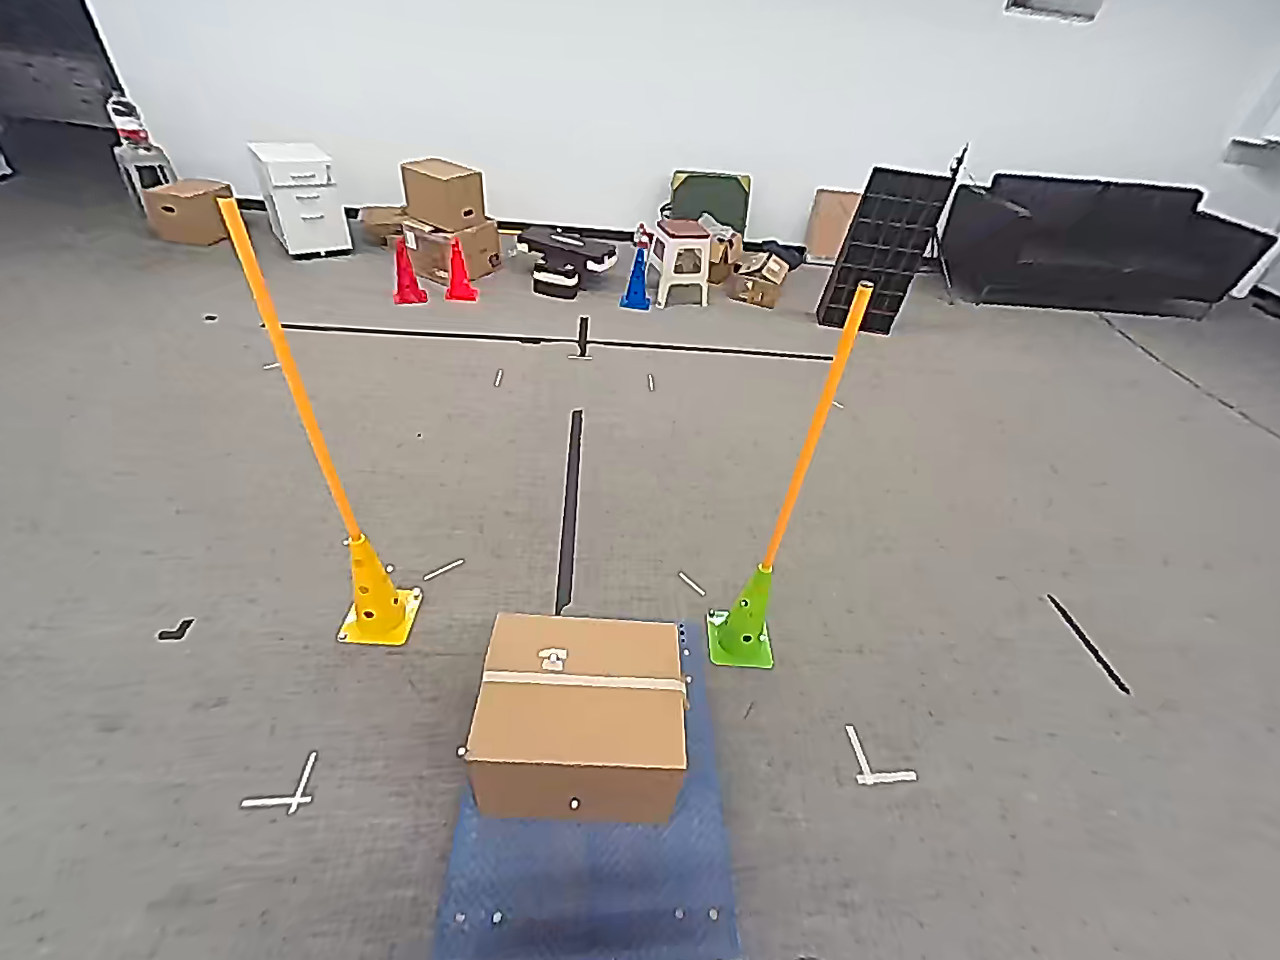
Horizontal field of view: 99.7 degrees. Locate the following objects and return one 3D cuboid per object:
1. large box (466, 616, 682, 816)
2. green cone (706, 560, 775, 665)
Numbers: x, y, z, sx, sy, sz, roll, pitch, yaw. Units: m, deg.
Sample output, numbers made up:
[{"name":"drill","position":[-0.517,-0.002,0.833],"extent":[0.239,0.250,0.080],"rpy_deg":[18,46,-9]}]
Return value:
[{"name":"large box","position":[-0.130,0.526,1.200],"extent":[0.408,0.320,0.320],"rpy_deg":[4,41,-3]},{"name":"green cone","position":[0.342,0.382,1.662],"extent":[0.202,0.368,0.200],"rpy_deg":[6,41,-4]}]
